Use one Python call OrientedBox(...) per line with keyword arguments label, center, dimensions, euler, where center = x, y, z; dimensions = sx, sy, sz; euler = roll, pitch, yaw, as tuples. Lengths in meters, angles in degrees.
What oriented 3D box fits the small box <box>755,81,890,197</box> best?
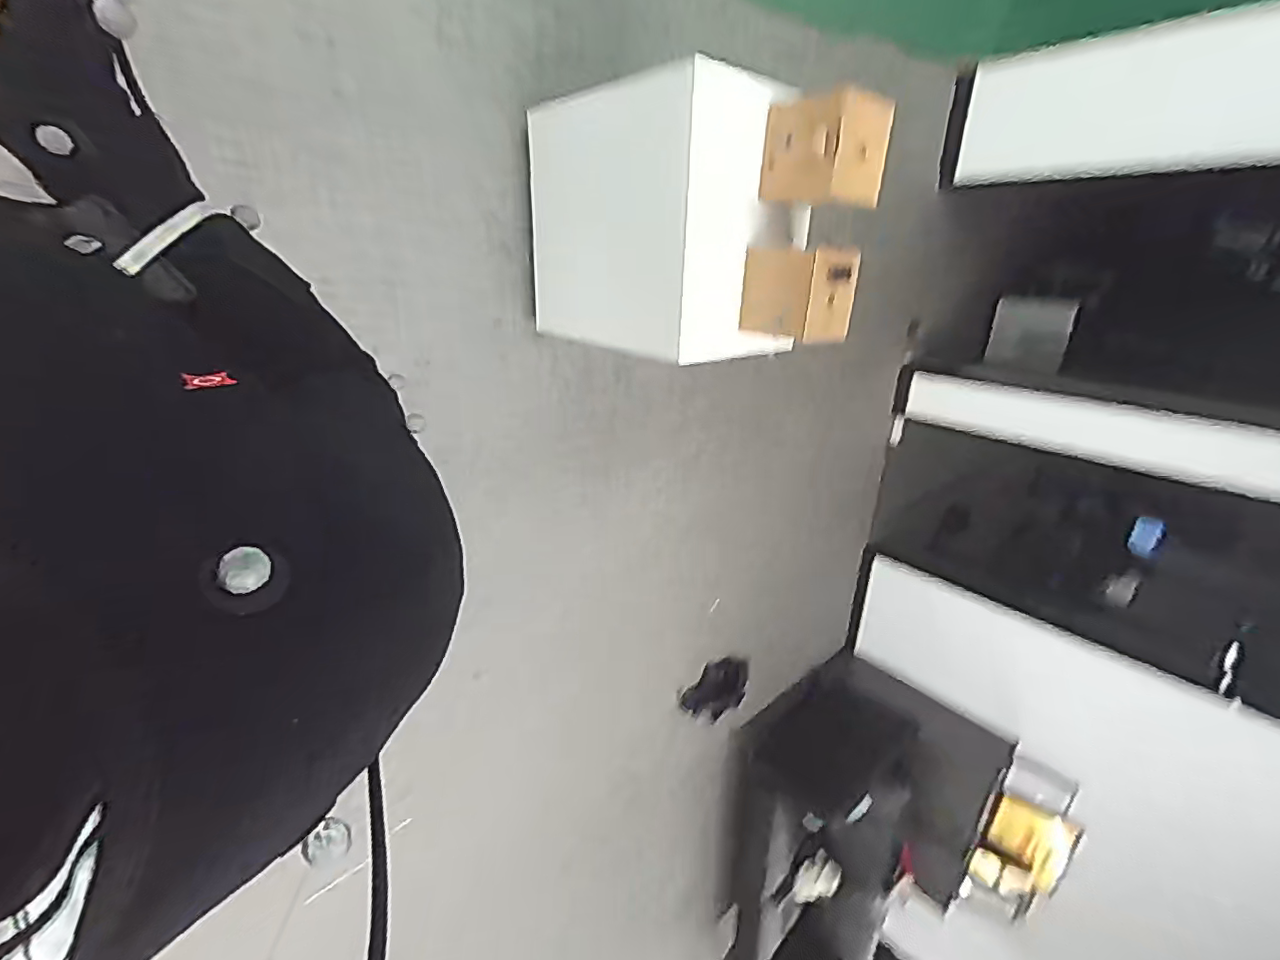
OrientedBox(label="small box", center=(0.353, -0.654, 1.059), dimensions=(0.179, 0.176, 0.168), euler=(-17, 120, -37))
